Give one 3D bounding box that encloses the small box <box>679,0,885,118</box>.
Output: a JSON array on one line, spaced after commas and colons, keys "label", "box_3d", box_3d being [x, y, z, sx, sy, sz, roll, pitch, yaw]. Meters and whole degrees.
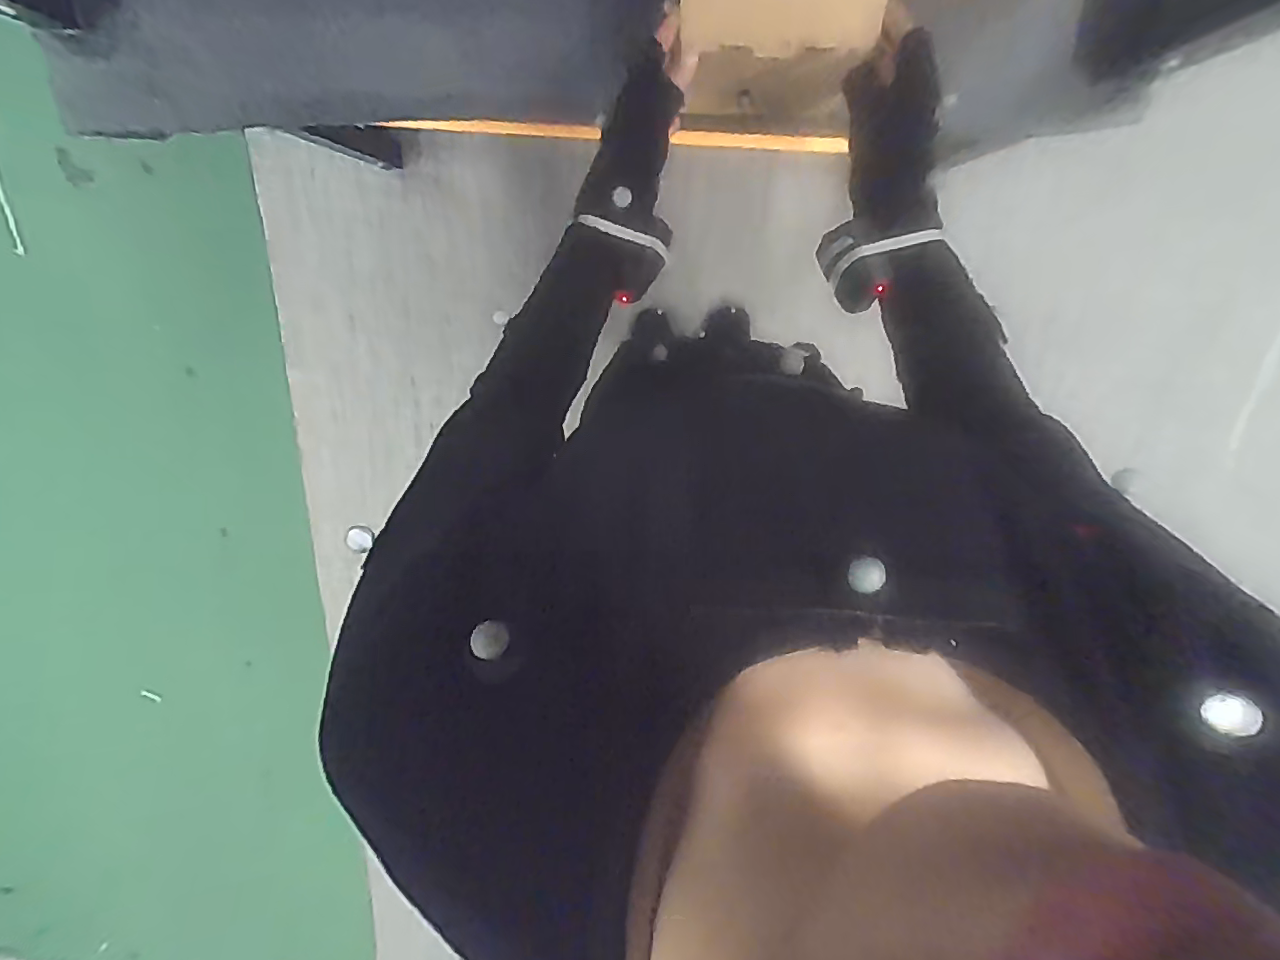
[{"label": "small box", "box_3d": [0.124, -0.465, 0.499, 0.168, 0.176, 0.179, 3, 109, 3]}]
